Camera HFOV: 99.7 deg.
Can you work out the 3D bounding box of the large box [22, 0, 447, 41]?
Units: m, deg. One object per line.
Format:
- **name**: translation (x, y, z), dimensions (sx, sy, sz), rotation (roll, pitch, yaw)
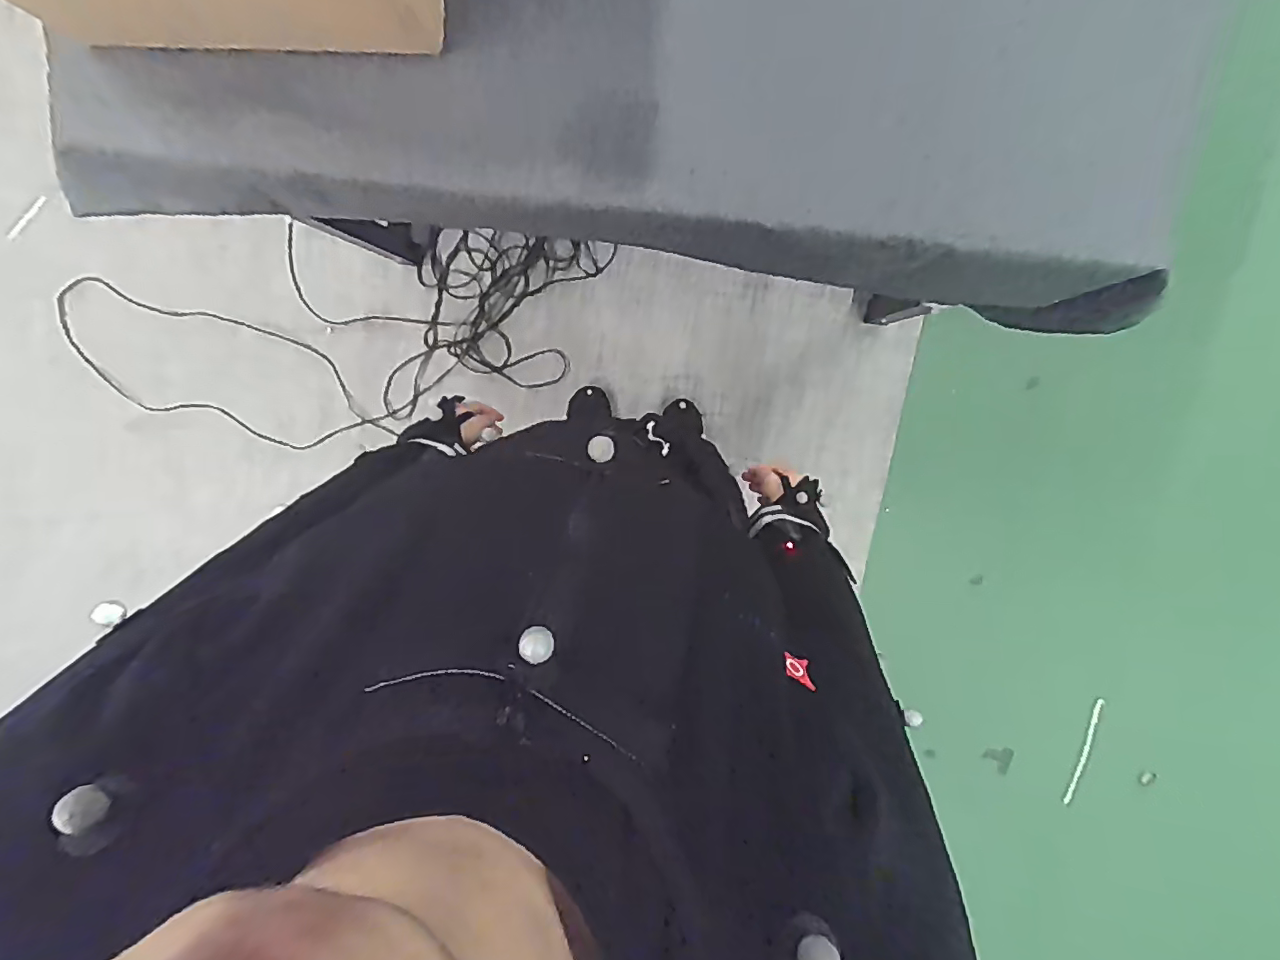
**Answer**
- **large box**: translation (-0.396, -0.583, 0.395), dimensions (0.408, 0.320, 0.320), rotation (3, 101, 1)
